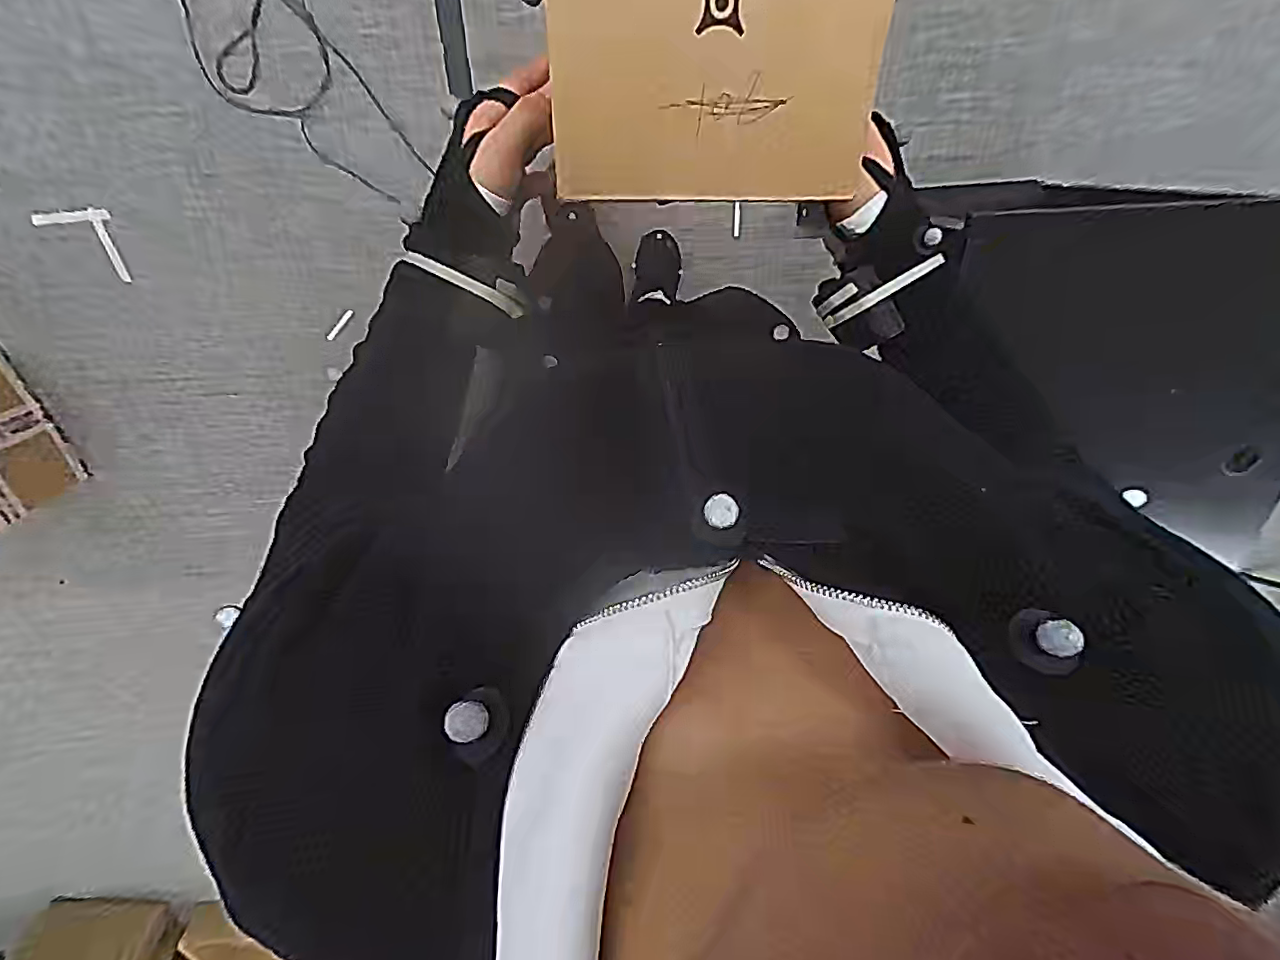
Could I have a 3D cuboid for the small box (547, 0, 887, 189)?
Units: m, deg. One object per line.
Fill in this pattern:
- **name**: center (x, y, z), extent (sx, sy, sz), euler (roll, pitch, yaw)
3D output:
- **small box**: center (0.031, -0.279, 0.316), extent (0.168, 0.176, 0.179), euler (-1, 124, -3)
